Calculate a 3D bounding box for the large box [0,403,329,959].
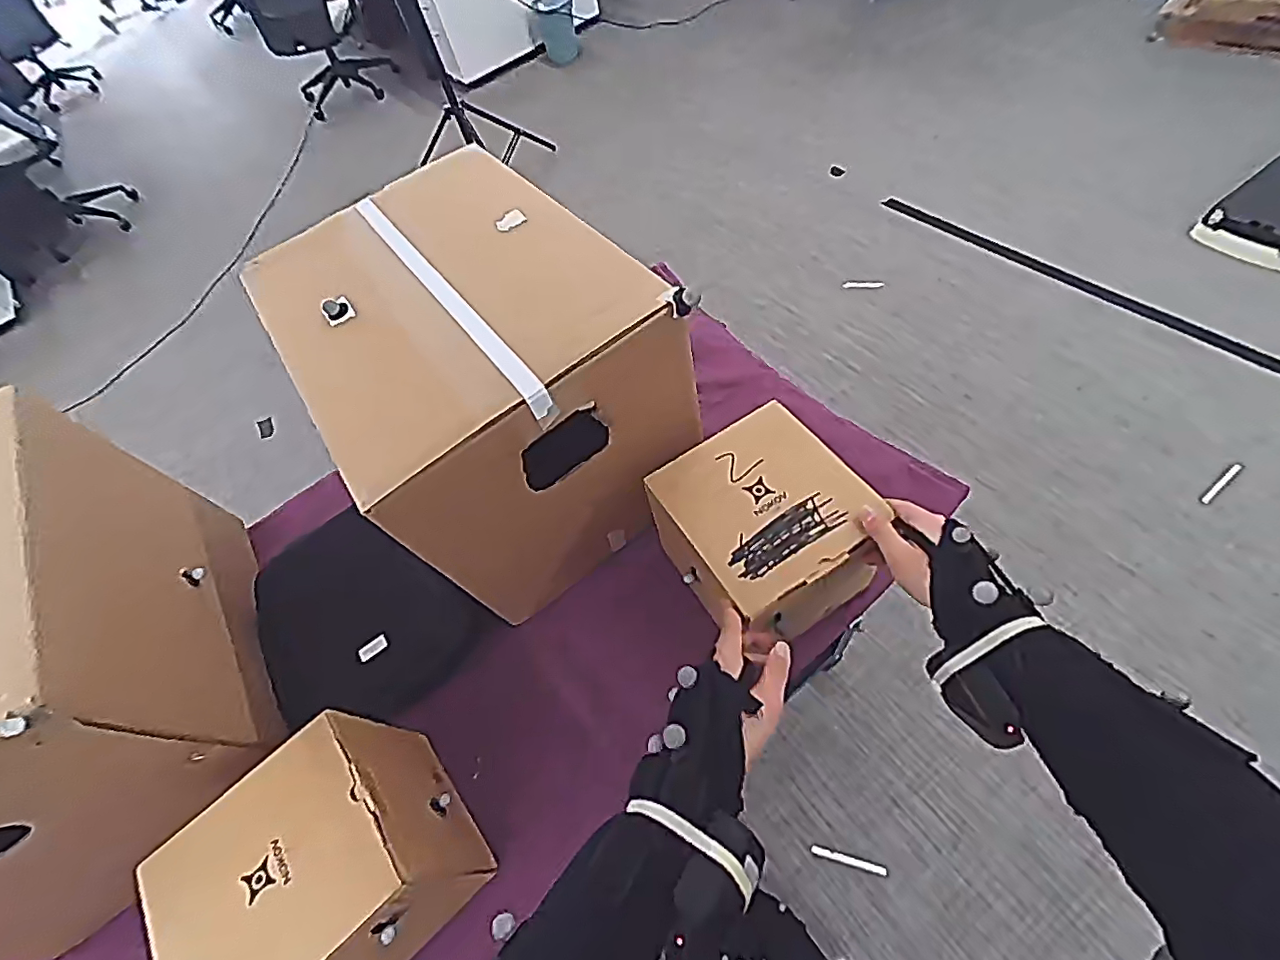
[{"bbox_3d":[-0.617,0.203,0.565,0.320,0.320,0.408,-38,62,-12],"label":"large box"}]
